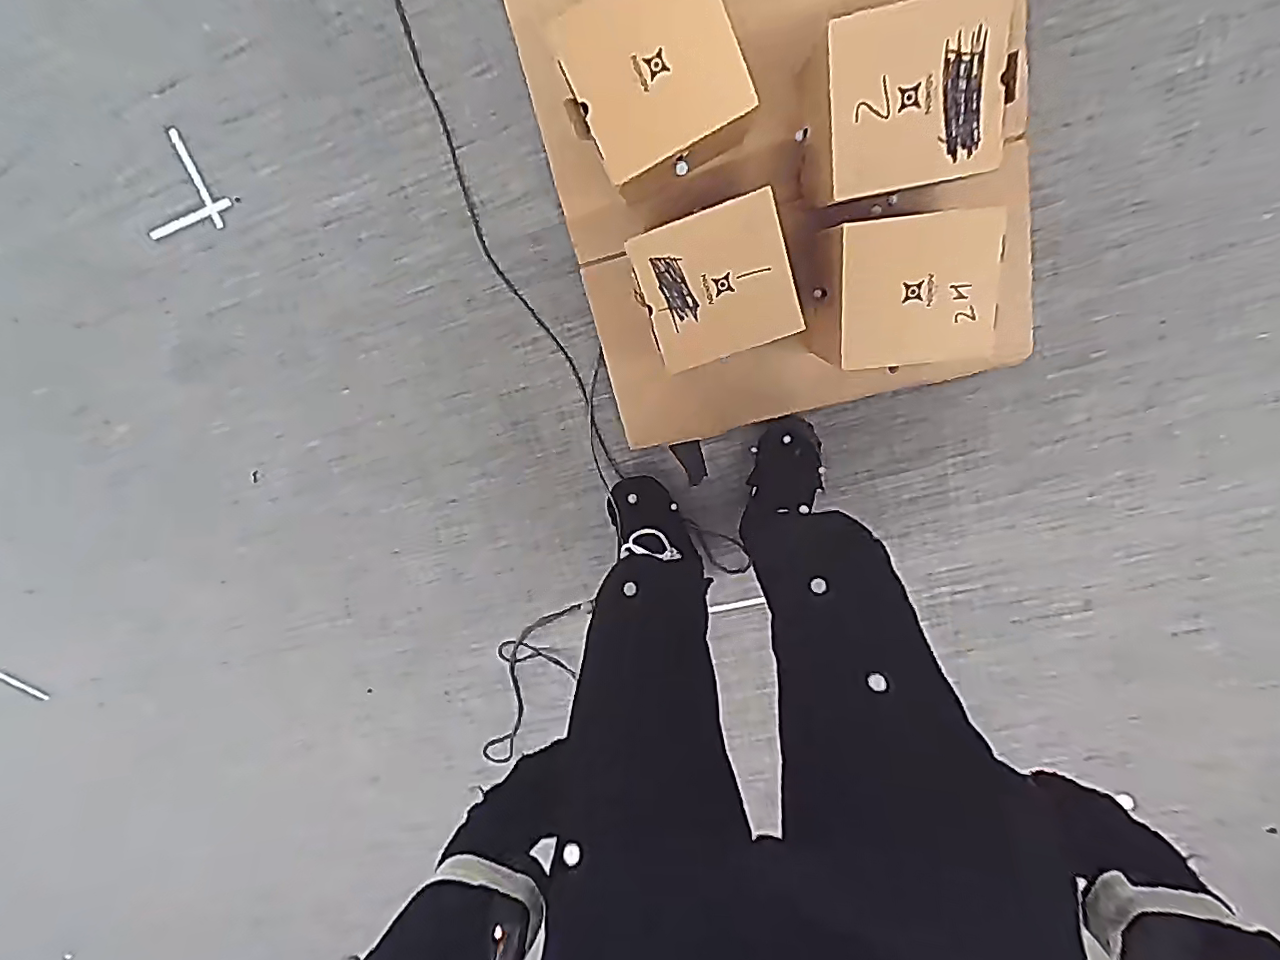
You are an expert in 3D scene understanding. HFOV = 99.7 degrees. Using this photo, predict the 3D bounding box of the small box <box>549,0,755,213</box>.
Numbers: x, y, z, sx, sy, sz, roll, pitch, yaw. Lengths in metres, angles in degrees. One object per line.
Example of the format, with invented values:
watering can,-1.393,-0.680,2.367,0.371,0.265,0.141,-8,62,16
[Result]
small box,0.019,-0.449,0.653,0.179,0.176,0.168,-24,106,14
